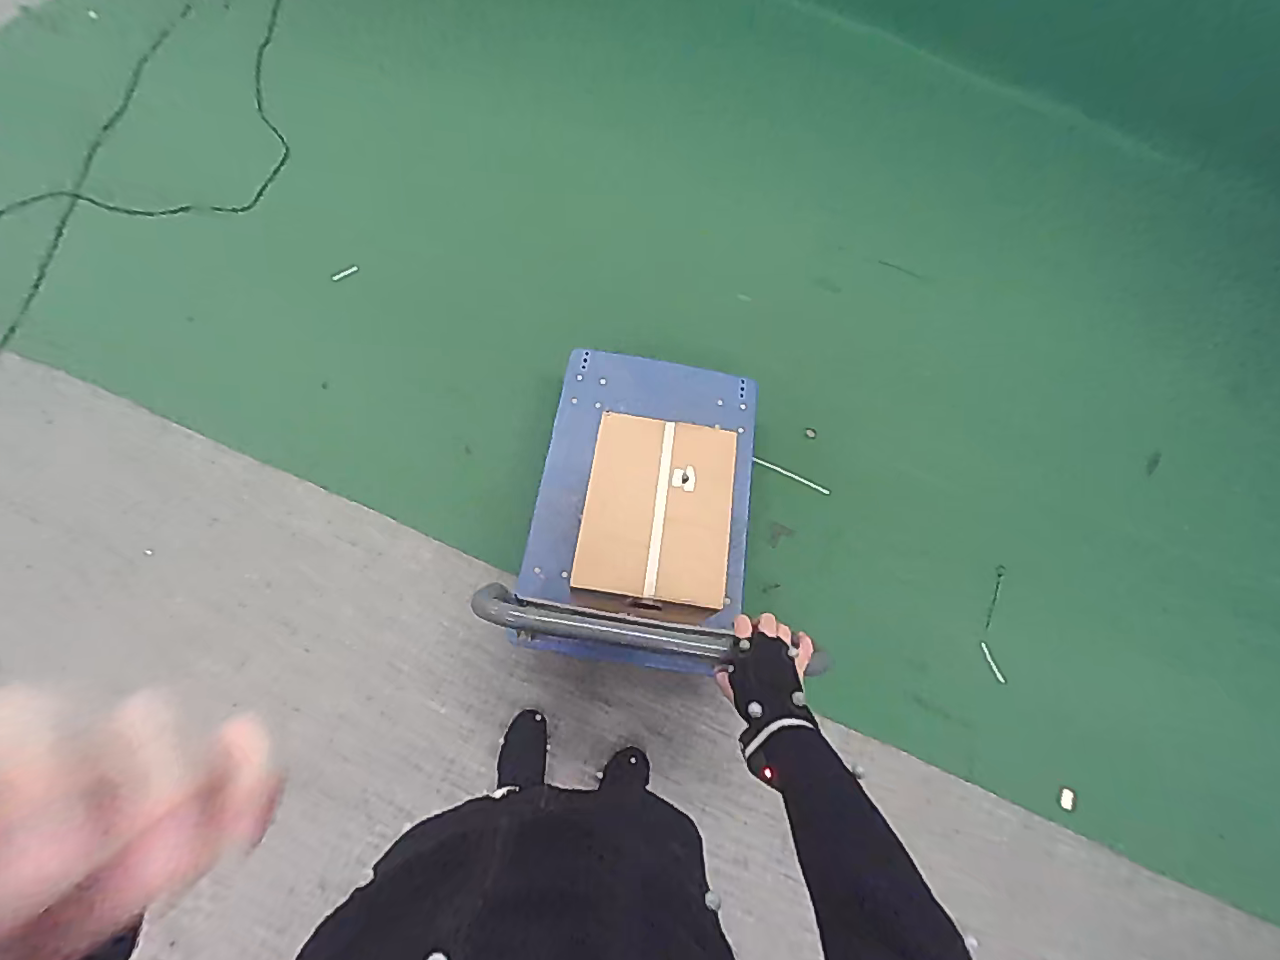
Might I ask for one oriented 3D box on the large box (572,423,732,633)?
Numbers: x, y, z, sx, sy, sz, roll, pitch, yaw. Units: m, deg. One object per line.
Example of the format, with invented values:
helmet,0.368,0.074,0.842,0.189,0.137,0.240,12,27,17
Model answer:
large box,0.026,0.130,1.297,0.320,0.320,0.408,9,66,-2
